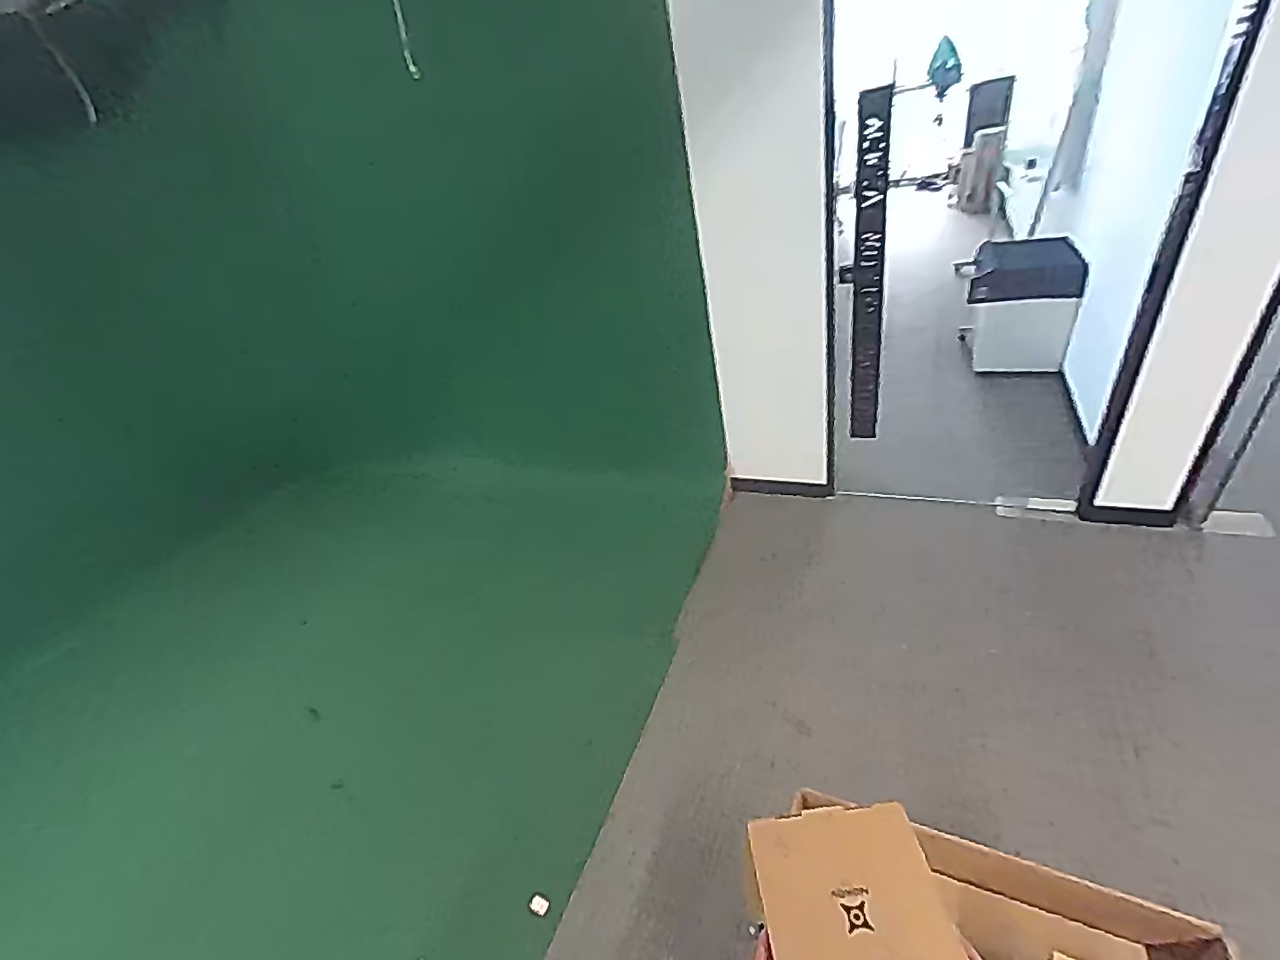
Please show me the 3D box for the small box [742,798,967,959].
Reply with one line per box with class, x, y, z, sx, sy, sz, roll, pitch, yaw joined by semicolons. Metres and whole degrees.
small box;0.200;0.454;0.540;0.168;0.176;0.179;-7;36;0
